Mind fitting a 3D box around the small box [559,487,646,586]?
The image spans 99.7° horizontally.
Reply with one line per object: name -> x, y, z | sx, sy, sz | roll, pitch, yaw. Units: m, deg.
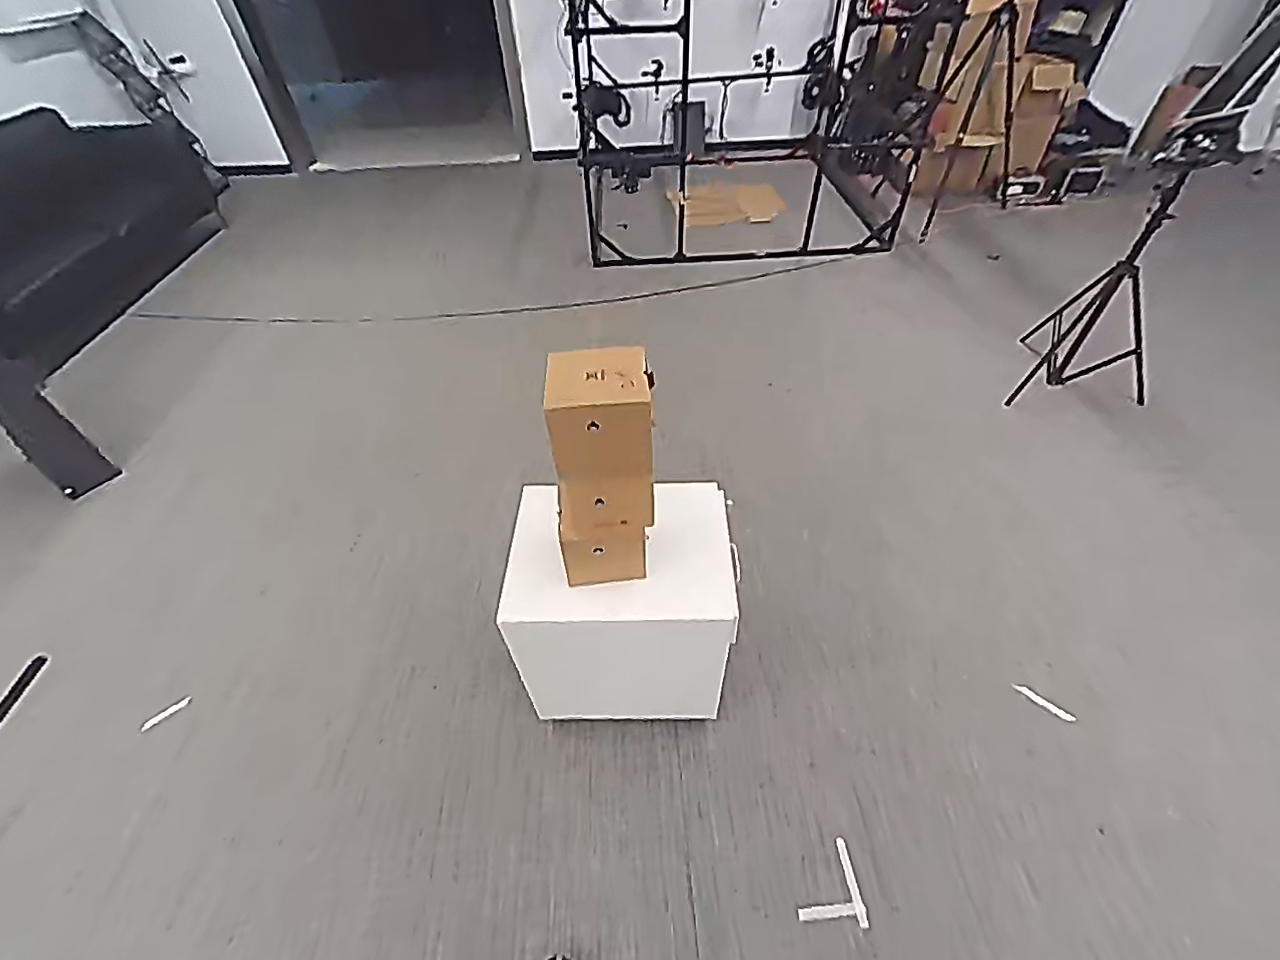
small box -> -0.083, 0.122, 1.206 | 0.179, 0.176, 0.168 | -6, 46, -4

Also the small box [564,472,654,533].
small box -> -0.062, -0.004, 1.103 | 0.168, 0.176, 0.179 | -5, 45, -3

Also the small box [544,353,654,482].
small box -> -0.068, -0.110, 0.976 | 0.179, 0.176, 0.168 | -3, 46, -1
